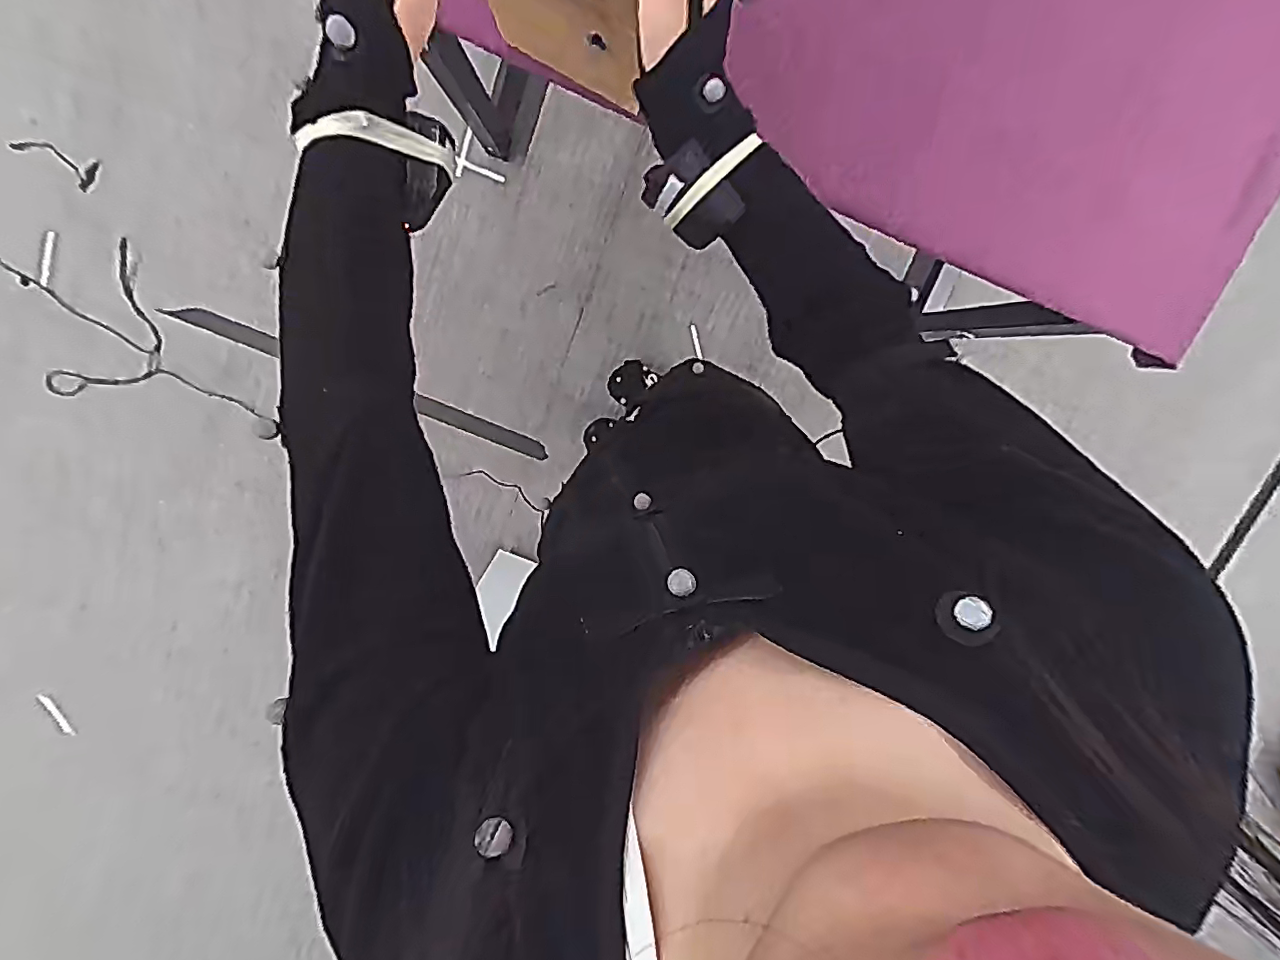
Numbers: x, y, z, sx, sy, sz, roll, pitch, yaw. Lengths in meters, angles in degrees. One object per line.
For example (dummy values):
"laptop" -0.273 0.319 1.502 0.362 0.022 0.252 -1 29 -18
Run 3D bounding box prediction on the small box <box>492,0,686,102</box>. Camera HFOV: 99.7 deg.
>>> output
"small box" -0.041 -0.525 0.545 0.179 0.176 0.168 25 101 -7

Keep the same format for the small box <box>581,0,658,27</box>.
"small box" -0.030 -0.492 0.384 0.168 0.176 0.179 24 103 -8
